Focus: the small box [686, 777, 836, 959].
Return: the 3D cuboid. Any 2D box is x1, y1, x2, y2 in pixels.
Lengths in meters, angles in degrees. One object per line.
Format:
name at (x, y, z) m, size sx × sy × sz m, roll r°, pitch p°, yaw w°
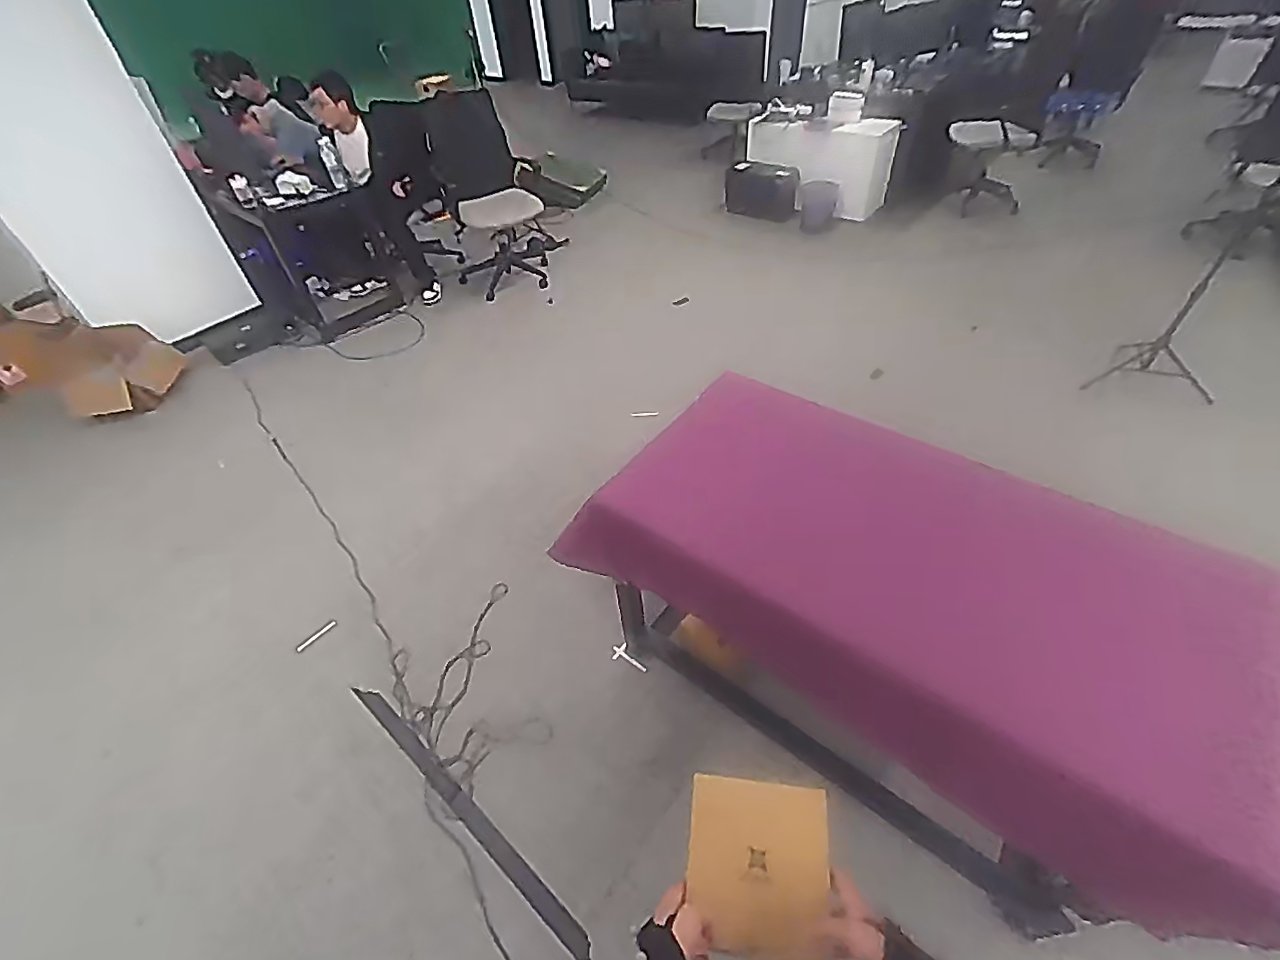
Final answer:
small box at (0.155, 0.504, 0.703) m, size 0.168 × 0.176 × 0.179 m, roll 0°, pitch 56°, yaw 13°
